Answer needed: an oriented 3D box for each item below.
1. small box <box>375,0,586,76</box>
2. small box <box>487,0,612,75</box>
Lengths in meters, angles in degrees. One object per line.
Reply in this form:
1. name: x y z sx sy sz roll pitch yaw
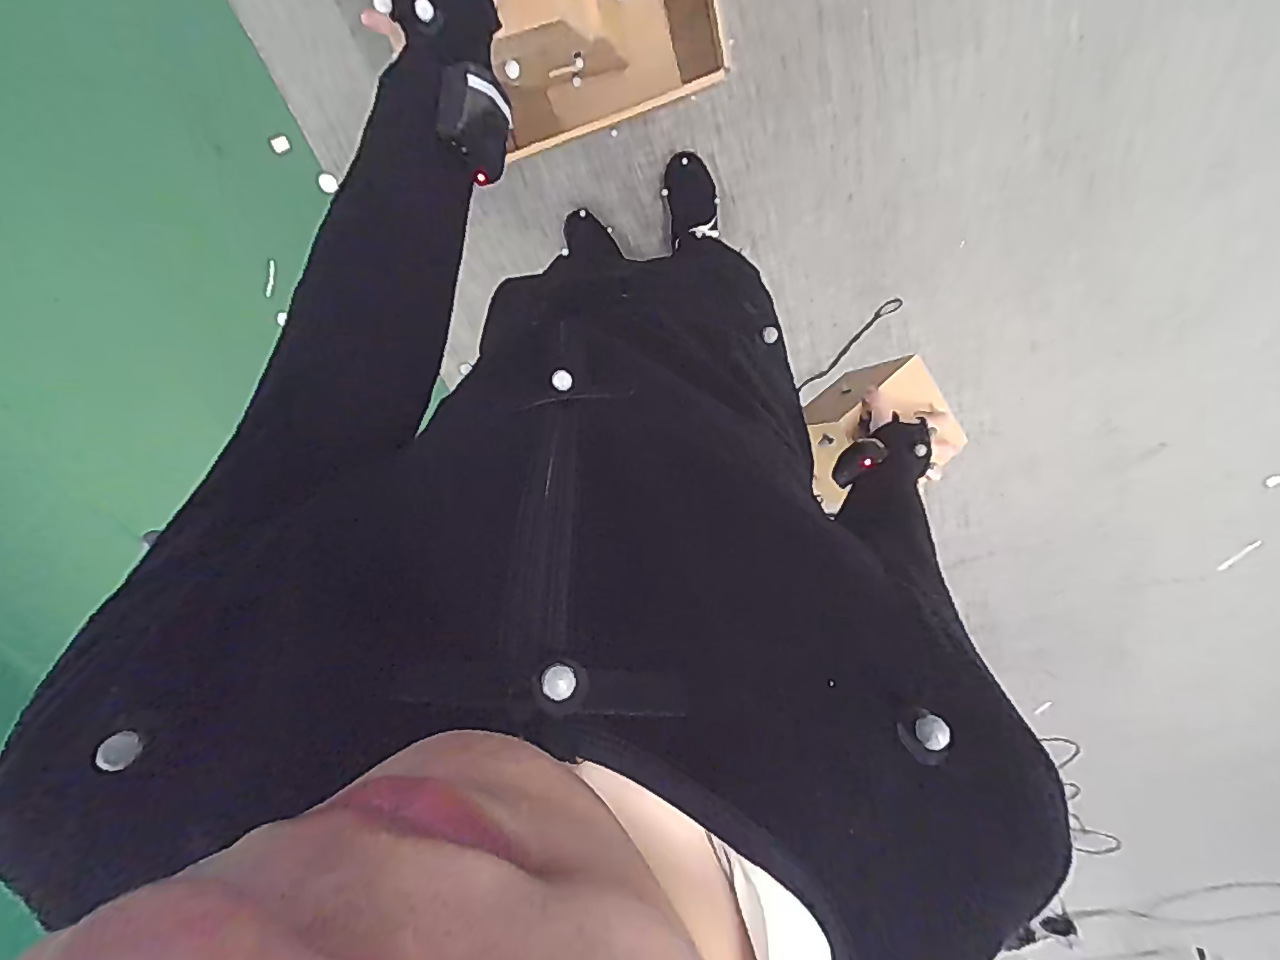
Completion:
1. small box: -0.159 -0.516 0.517 0.168 0.176 0.179 -7 123 10
2. small box: -0.137 -0.610 0.650 0.168 0.176 0.179 -7 121 10
